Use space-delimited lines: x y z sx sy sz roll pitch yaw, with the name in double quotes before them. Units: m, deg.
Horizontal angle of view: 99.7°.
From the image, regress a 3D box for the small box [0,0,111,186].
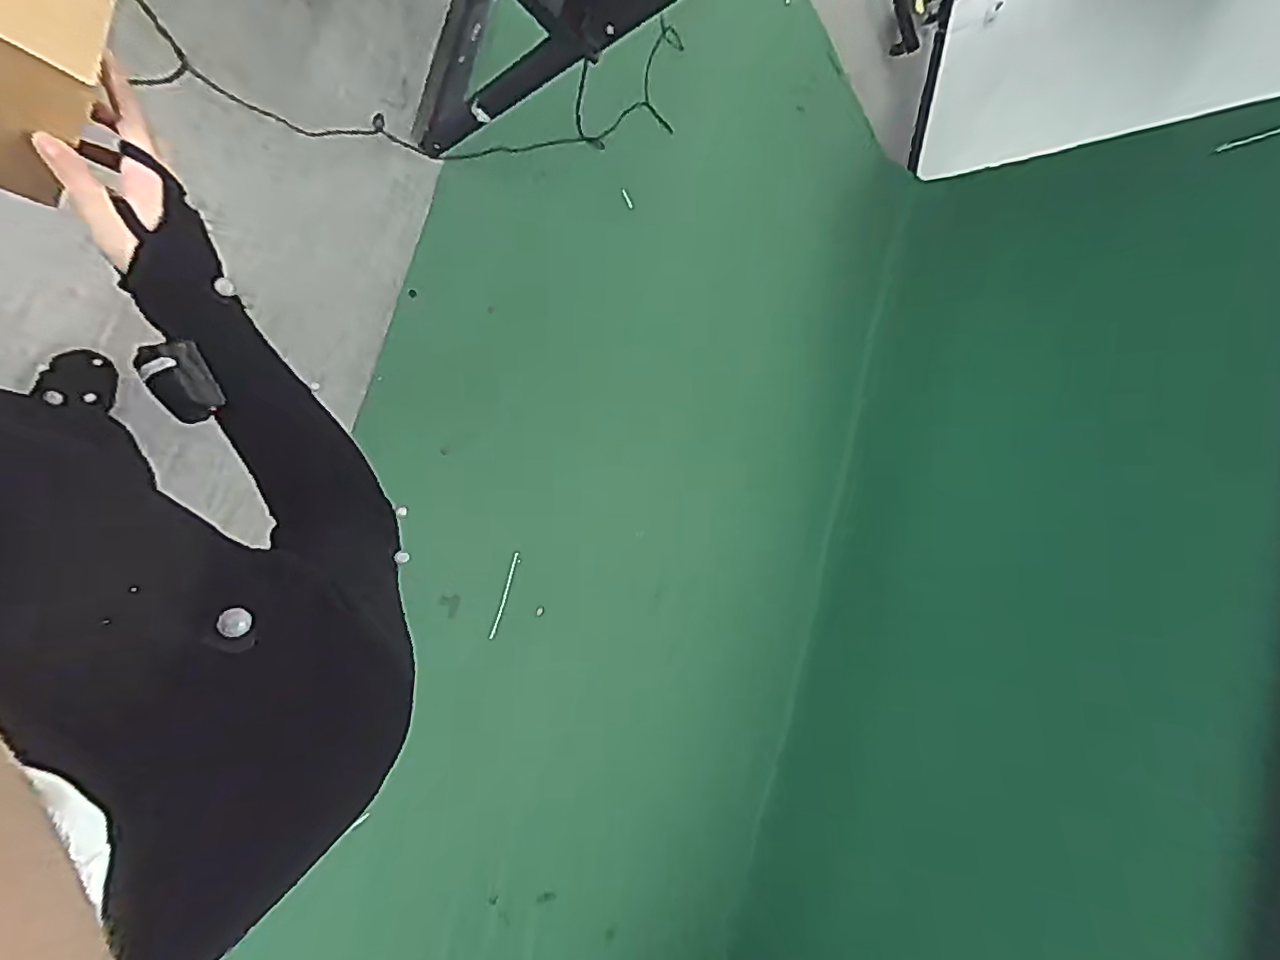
"small box" -0.499 -0.348 0.371 0.179 0.176 0.168 15 66 -51
